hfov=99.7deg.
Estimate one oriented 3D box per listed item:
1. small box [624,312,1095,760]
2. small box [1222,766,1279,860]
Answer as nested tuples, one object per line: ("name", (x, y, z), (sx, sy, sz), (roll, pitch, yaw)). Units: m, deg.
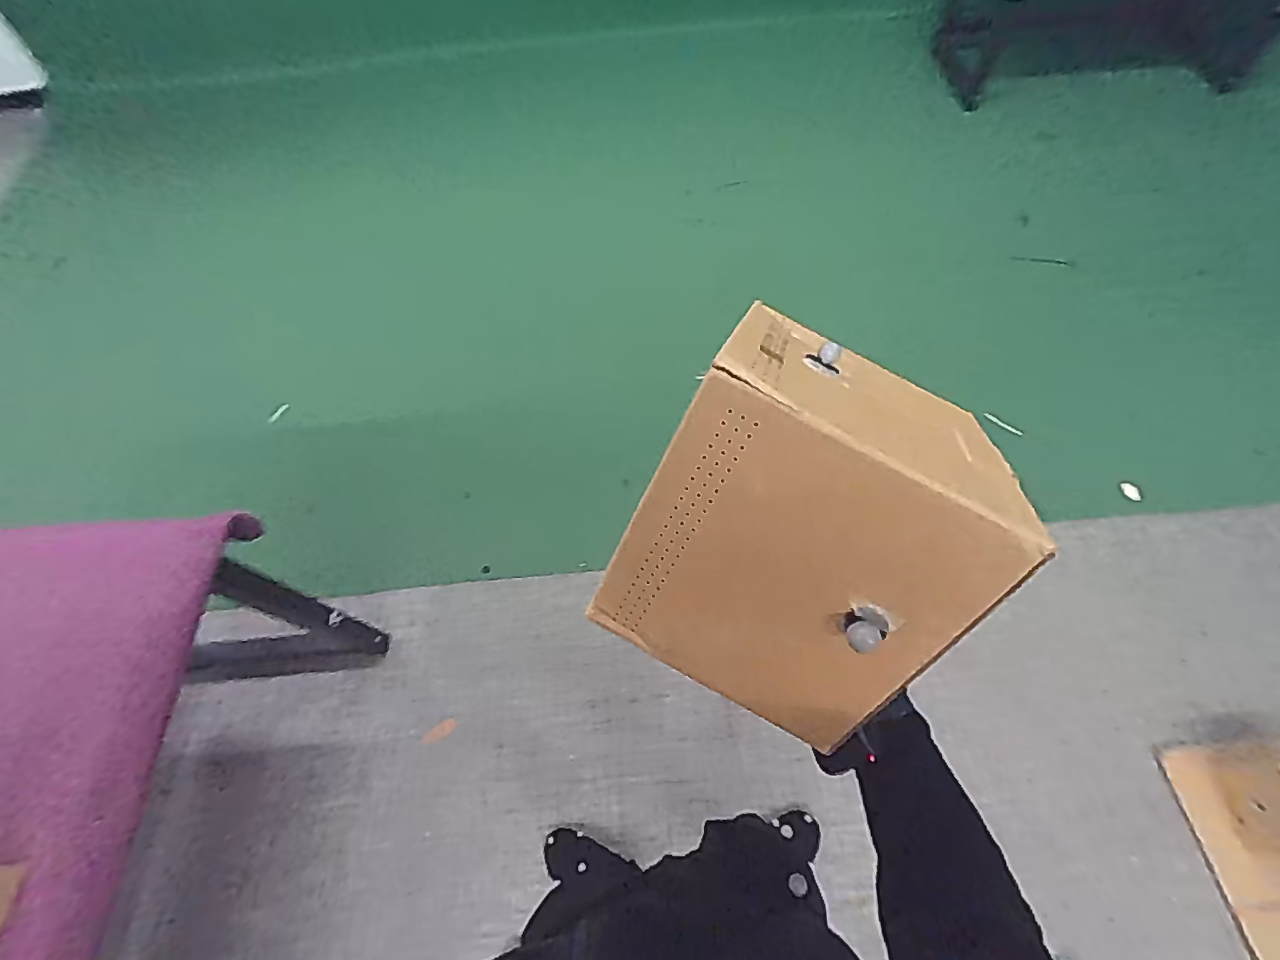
("small box", (0.106, 0.023, 0.336), (0.176, 0.179, 0.168), (29, 32, 4))
("small box", (1.358, 0.677, 1.095), (0.179, 0.176, 0.168), (-1, 62, 3))
